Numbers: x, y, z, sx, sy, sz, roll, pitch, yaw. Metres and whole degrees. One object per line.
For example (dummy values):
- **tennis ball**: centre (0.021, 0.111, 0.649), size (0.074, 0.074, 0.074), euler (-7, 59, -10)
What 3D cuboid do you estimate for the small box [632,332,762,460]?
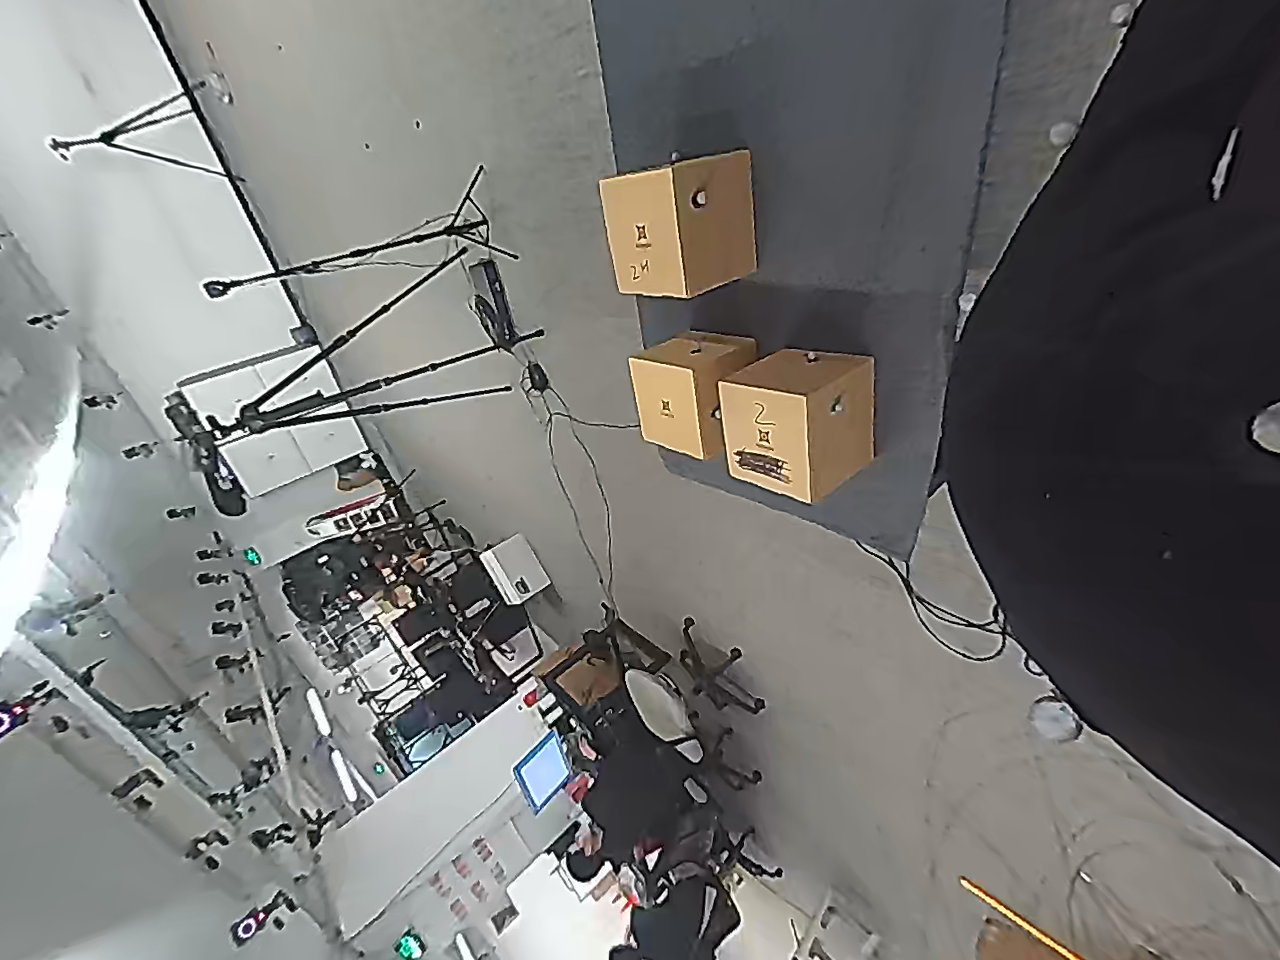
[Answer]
- **small box**: centre (0.113, -0.167, 1.020), size (0.168, 0.176, 0.179), euler (23, 135, 45)
